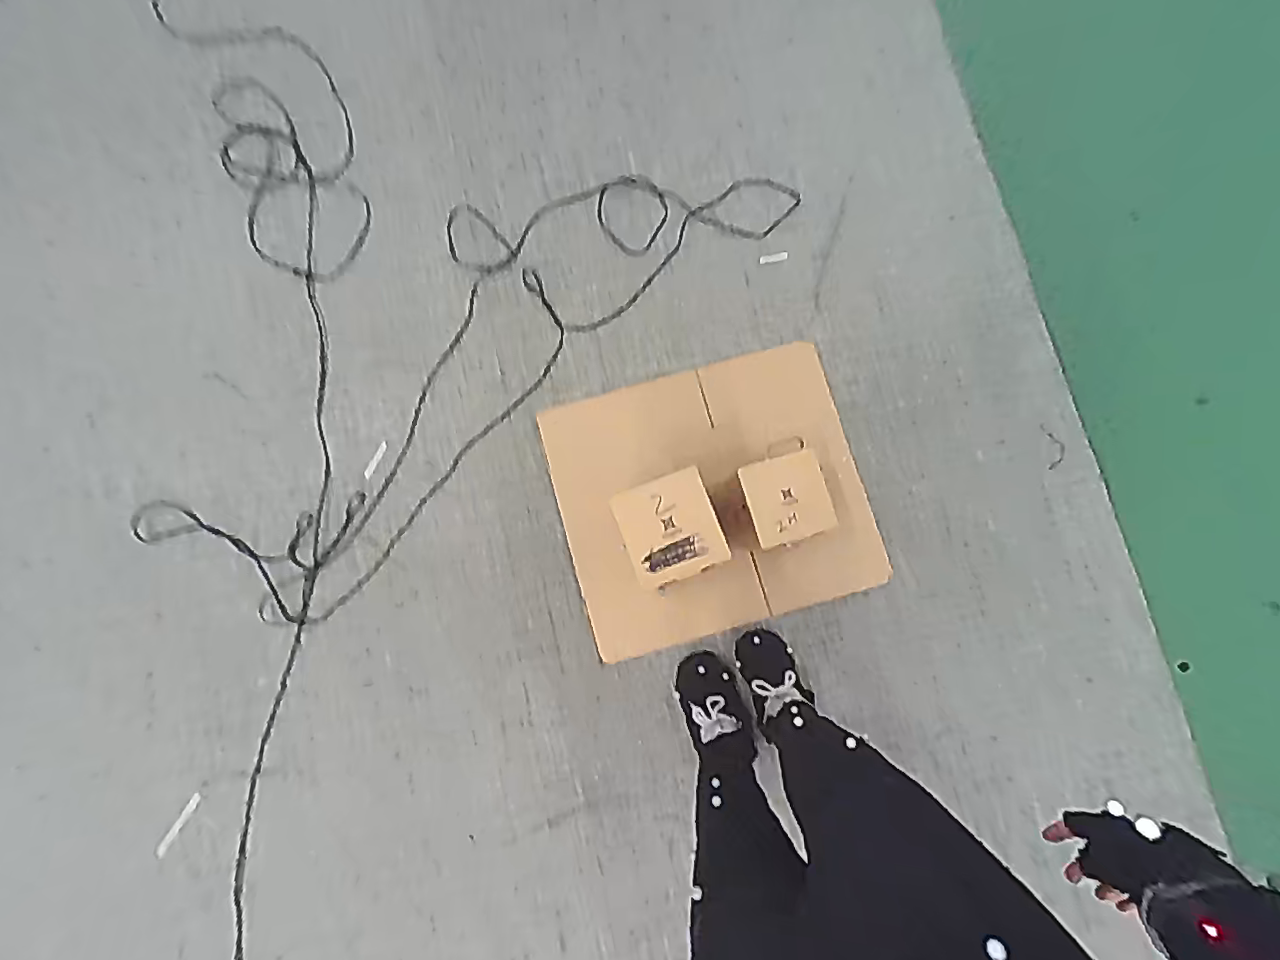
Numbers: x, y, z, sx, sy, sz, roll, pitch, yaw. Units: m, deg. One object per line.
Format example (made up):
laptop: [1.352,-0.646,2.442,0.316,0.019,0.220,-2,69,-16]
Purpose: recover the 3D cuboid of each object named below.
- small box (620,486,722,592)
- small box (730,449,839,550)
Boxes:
small box: [0.064,0.127,1.169,0.168,0.176,0.179,-20,82,-2]
small box: [0.303,0.049,1.179,0.168,0.176,0.179,-16,82,0]
